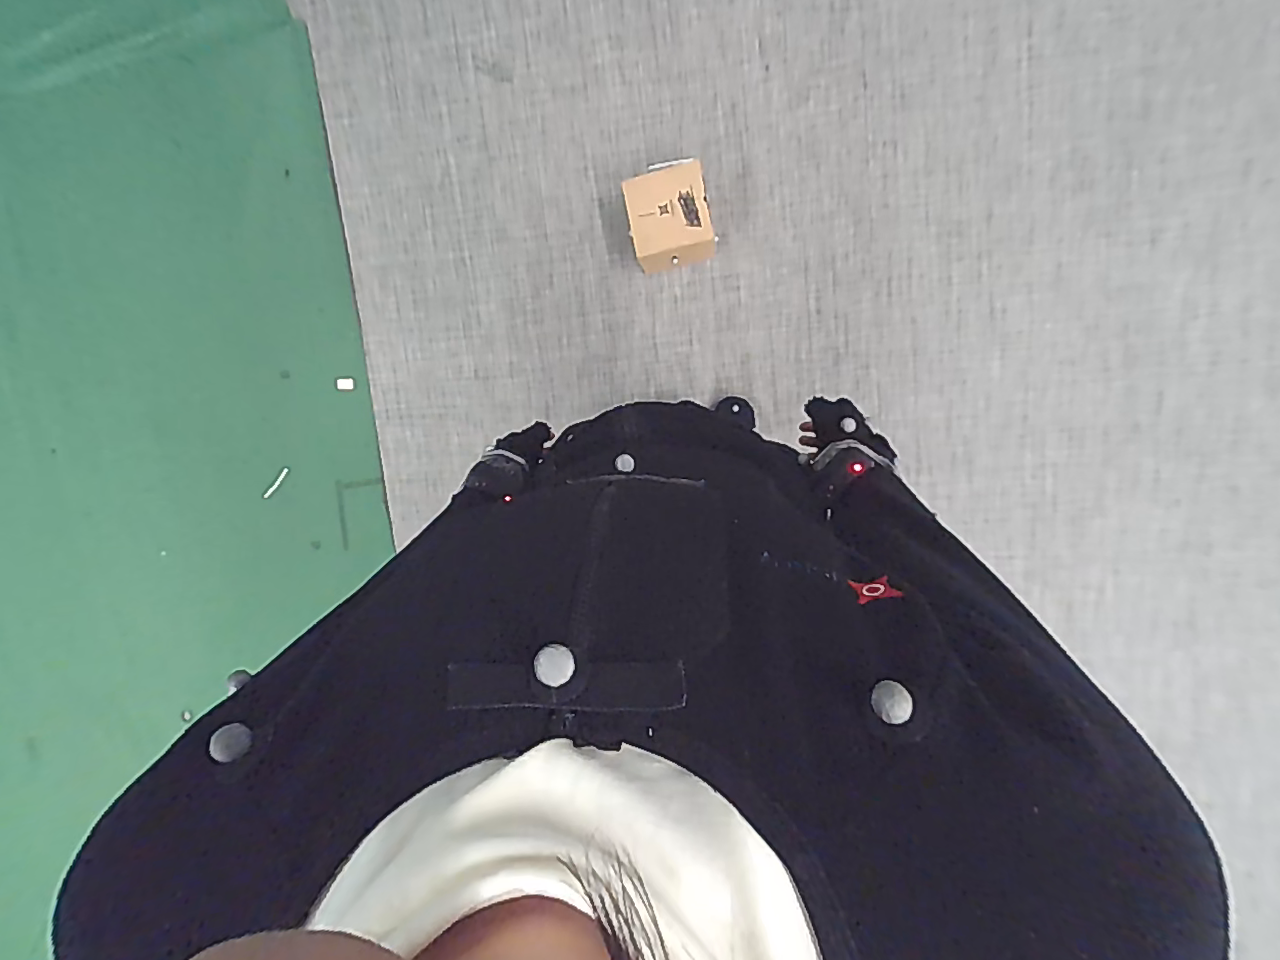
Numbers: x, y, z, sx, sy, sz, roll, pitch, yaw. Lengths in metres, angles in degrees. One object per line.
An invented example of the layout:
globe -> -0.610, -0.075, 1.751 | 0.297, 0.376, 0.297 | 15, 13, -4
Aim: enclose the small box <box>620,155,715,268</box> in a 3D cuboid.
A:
small box -> 0.067, -0.610, 1.250 | 0.179, 0.176, 0.168 | -14, 97, 9
